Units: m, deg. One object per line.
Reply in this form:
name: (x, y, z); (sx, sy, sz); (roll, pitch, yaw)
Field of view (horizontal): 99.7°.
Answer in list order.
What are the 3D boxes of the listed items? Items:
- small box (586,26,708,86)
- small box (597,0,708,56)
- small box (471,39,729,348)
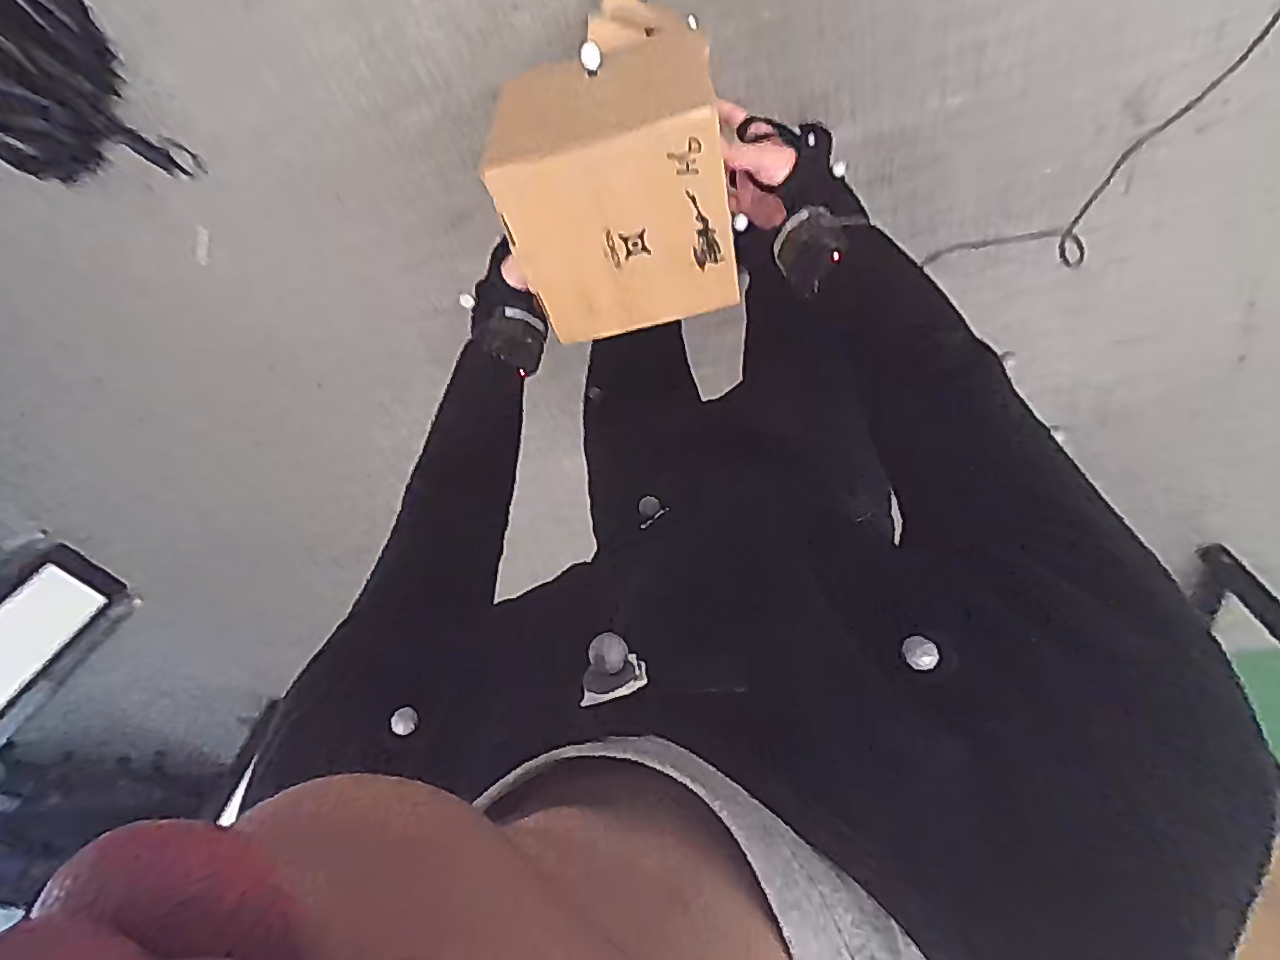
small box: (0.003, -0.574, 0.836); (0.168, 0.176, 0.179); (12, 133, -3)
small box: (0.004, -0.701, 0.944); (0.179, 0.176, 0.168); (20, 131, -12)
small box: (-0.021, -0.249, 0.484); (0.179, 0.176, 0.168); (-9, 145, 11)
